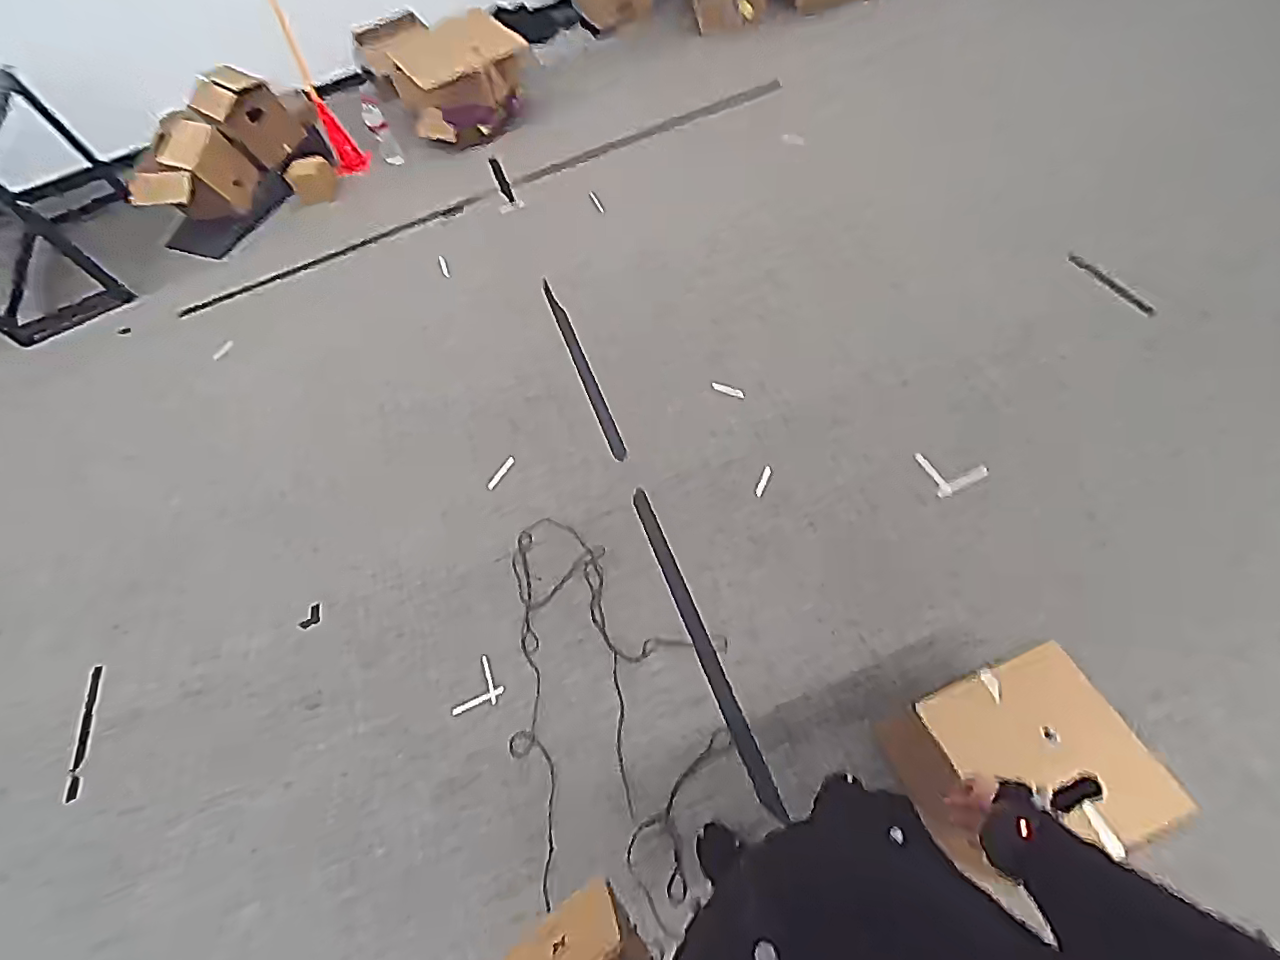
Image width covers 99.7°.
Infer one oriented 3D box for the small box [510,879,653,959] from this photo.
[{"bbox_3d":[-0.059,0.693,0.707,0.168,0.179,0.176,-31,86,-16],"label":"small box"}]
